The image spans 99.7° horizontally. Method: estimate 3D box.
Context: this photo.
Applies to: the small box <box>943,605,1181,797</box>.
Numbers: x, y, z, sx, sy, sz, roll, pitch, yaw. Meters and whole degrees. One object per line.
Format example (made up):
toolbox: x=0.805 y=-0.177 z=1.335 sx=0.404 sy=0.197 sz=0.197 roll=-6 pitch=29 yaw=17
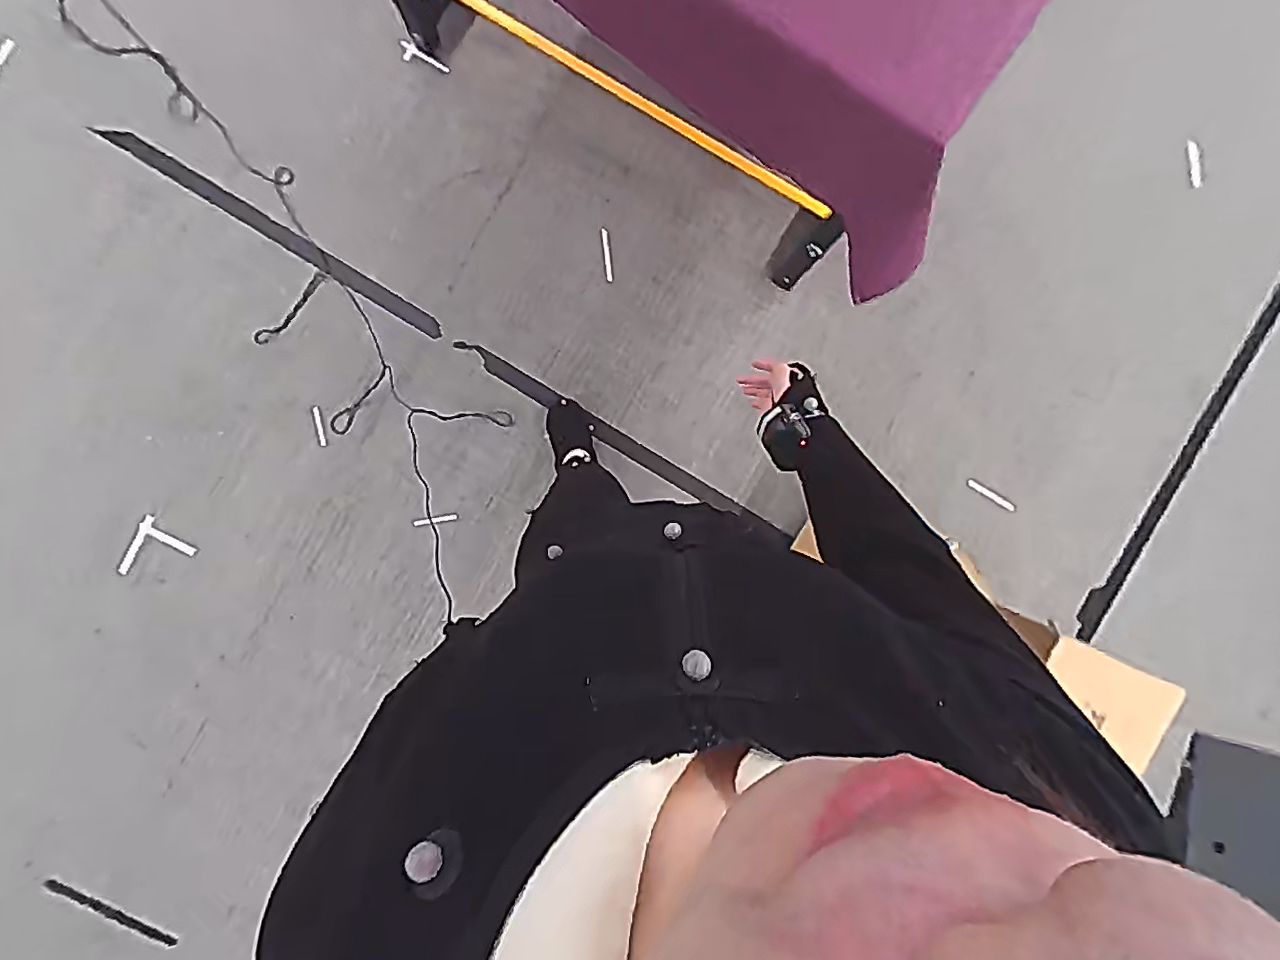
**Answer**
small box: x=0.577 y=0.296 z=0.771 sx=0.179 sy=0.176 sz=0.168 roll=25 pitch=95 yaw=0
